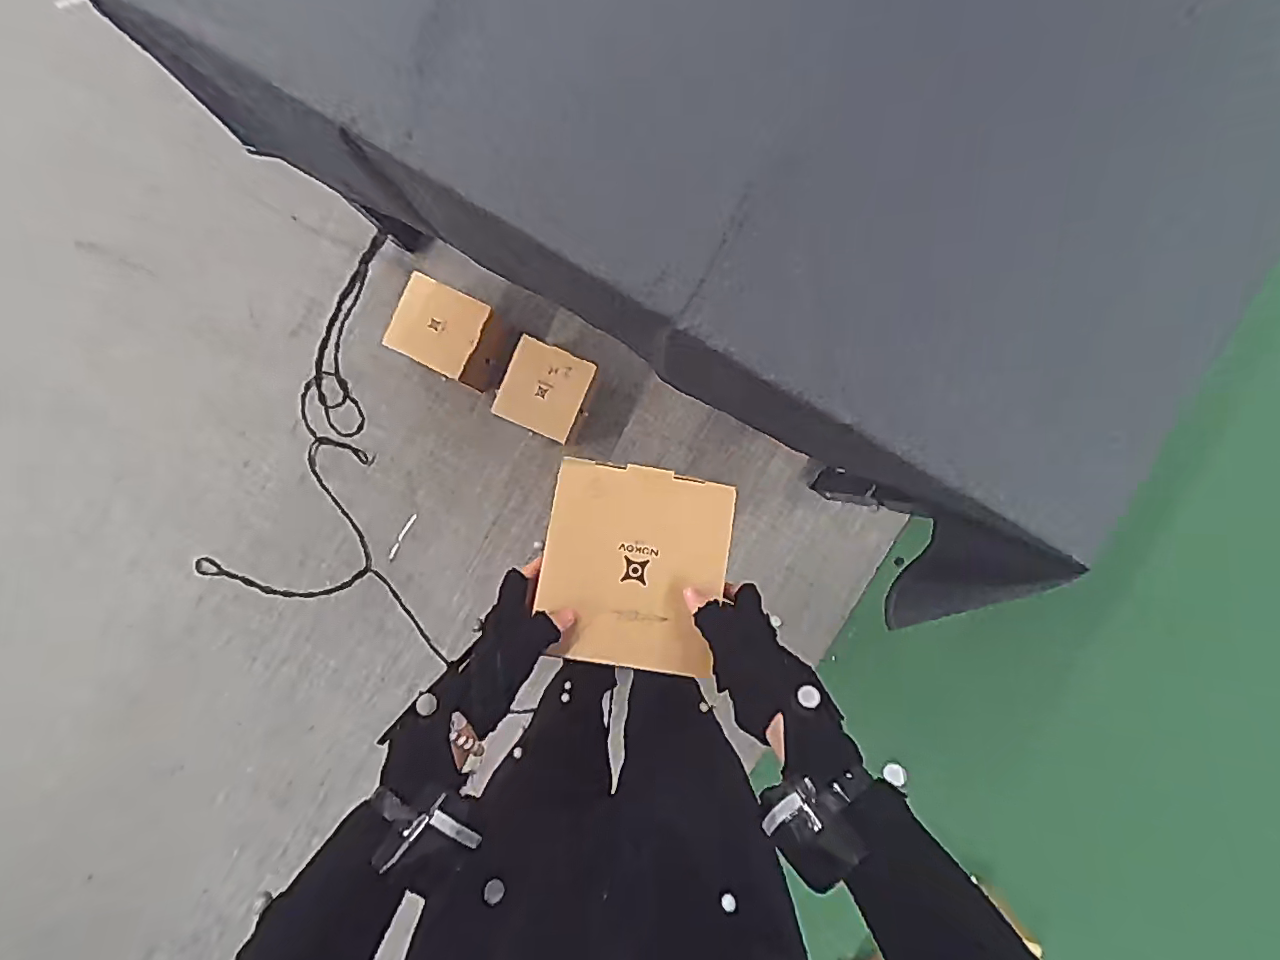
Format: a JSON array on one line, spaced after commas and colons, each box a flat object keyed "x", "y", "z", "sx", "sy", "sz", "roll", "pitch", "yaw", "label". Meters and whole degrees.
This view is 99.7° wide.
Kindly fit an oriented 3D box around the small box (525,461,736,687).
[{"x": -0.013, "y": 0.093, "z": 0.555, "sx": 0.168, "sy": 0.176, "sz": 0.179, "roll": 10, "pitch": 81, "yaw": -4, "label": "small box"}]

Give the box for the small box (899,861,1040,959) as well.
[{"x": 0.724, "y": 1.008, "z": 1.211, "sx": 0.179, "sy": 0.176, "sz": 0.168, "roll": 29, "pitch": 92, "yaw": 0, "label": "small box"}]

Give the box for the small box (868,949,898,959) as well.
[{"x": 0.586, "y": 1.237, "z": 1.220, "sx": 0.168, "sy": 0.176, "sz": 0.179, "roll": 33, "pitch": 91, "yaw": -1, "label": "small box"}]
